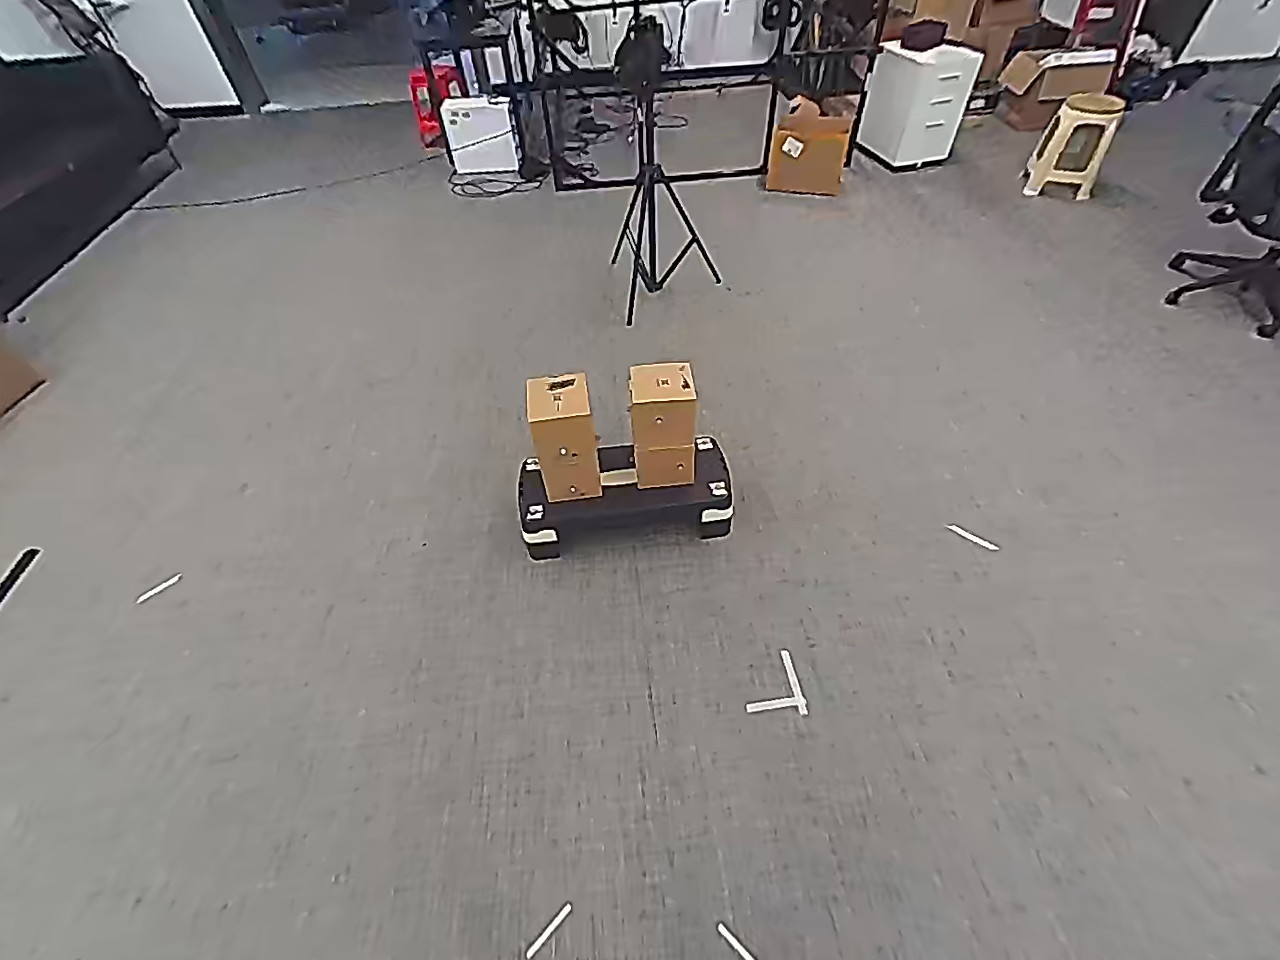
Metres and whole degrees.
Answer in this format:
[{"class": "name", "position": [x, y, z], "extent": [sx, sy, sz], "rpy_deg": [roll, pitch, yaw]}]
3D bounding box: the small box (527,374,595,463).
[{"class": "small box", "position": [-0.221, -0.173, 1.523], "extent": [0.168, 0.176, 0.179], "rpy_deg": [-8, 50, -4]}]

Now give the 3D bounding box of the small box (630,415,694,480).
[{"class": "small box", "position": [0.067, -0.097, 1.662], "extent": [0.179, 0.176, 0.168], "rpy_deg": [-7, 49, 0]}]

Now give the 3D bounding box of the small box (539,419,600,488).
[{"class": "small box", "position": [-0.212, -0.063, 1.644], "extent": [0.168, 0.176, 0.179], "rpy_deg": [-7, 50, -3]}]

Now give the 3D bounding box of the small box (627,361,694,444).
[{"class": "small box", "position": [0.060, -0.217, 1.549], "extent": [0.179, 0.176, 0.168], "rpy_deg": [-5, 49, 0]}]
